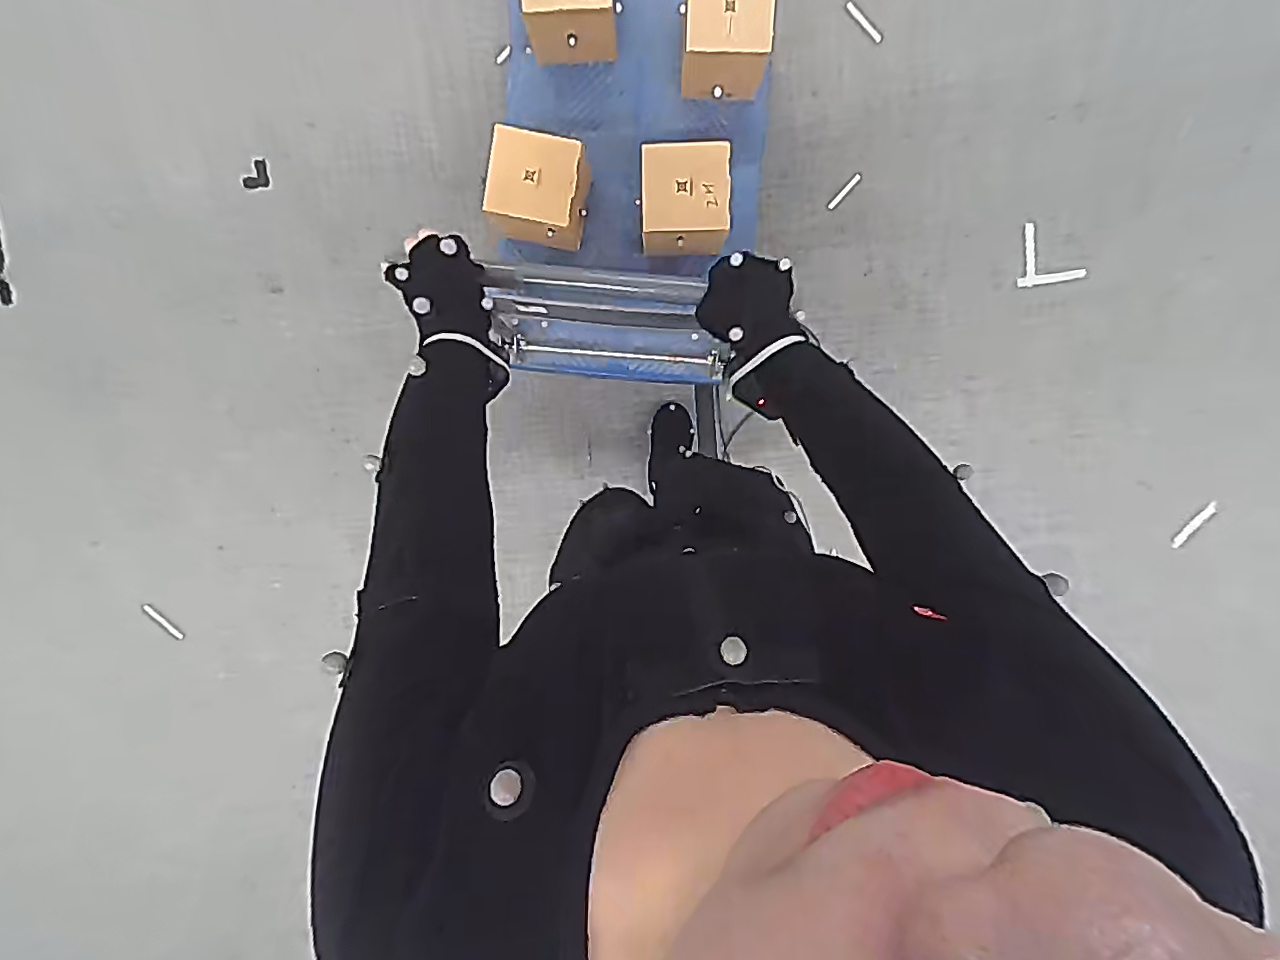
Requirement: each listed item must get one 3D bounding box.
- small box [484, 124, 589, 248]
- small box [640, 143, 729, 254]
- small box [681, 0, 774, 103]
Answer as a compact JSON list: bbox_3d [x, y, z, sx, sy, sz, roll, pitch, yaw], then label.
[{"bbox_3d":[-0.213,-0.615,1.152,0.179,0.176,0.168,11,97,-2],"label":"small box"},{"bbox_3d":[0.090,-0.589,1.150,0.179,0.176,0.168,0,97,1],"label":"small box"},{"bbox_3d":[0.173,-0.916,1.108,0.168,0.176,0.179,2,98,0],"label":"small box"}]
